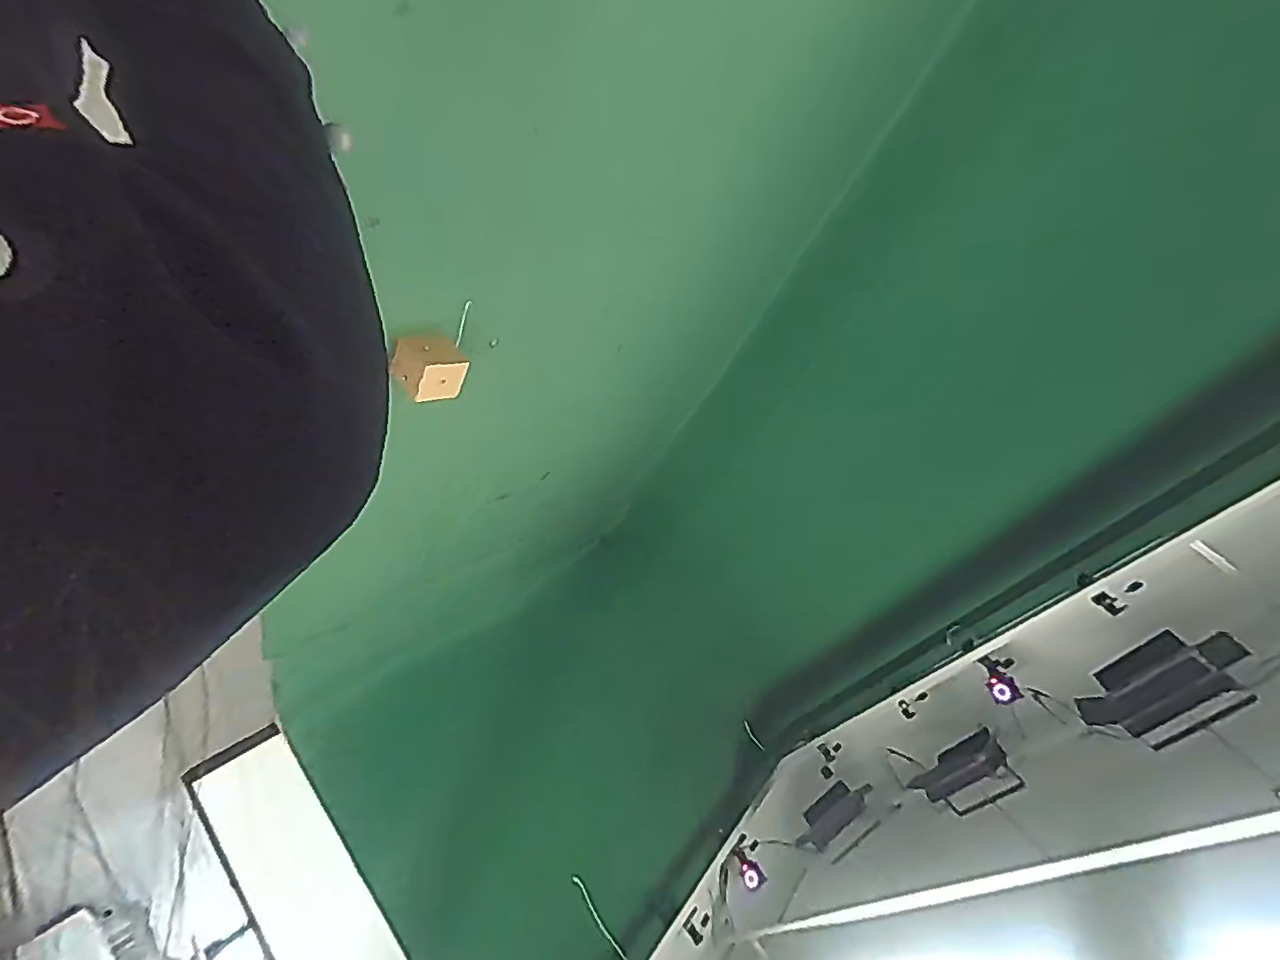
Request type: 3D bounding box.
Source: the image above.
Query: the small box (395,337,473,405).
[{"bbox_3d":[-0.730,-0.387,1.903,0.179,0.176,0.168,-21,155,-52],"label":"small box"}]
